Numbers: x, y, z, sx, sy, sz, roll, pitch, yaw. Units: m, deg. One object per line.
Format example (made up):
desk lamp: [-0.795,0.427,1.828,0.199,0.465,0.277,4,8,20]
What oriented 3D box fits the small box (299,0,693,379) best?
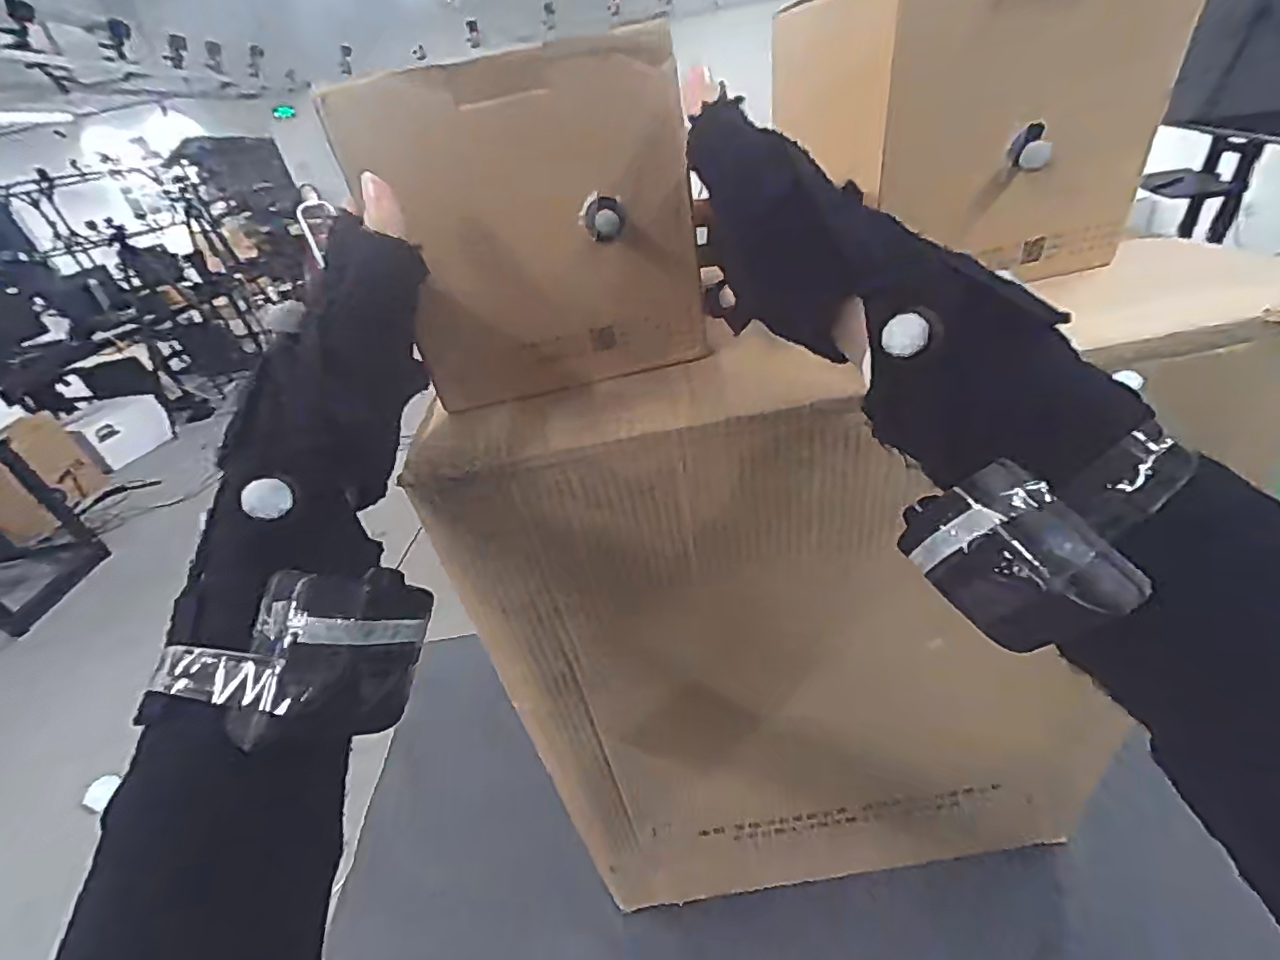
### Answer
small box: [-0.071,-0.179,0.350,0.168,0.176,0.179,-15,37,-3]

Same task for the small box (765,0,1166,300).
small box: [0.194,-0.236,0.370,0.168,0.176,0.179,-12,38,-2]
